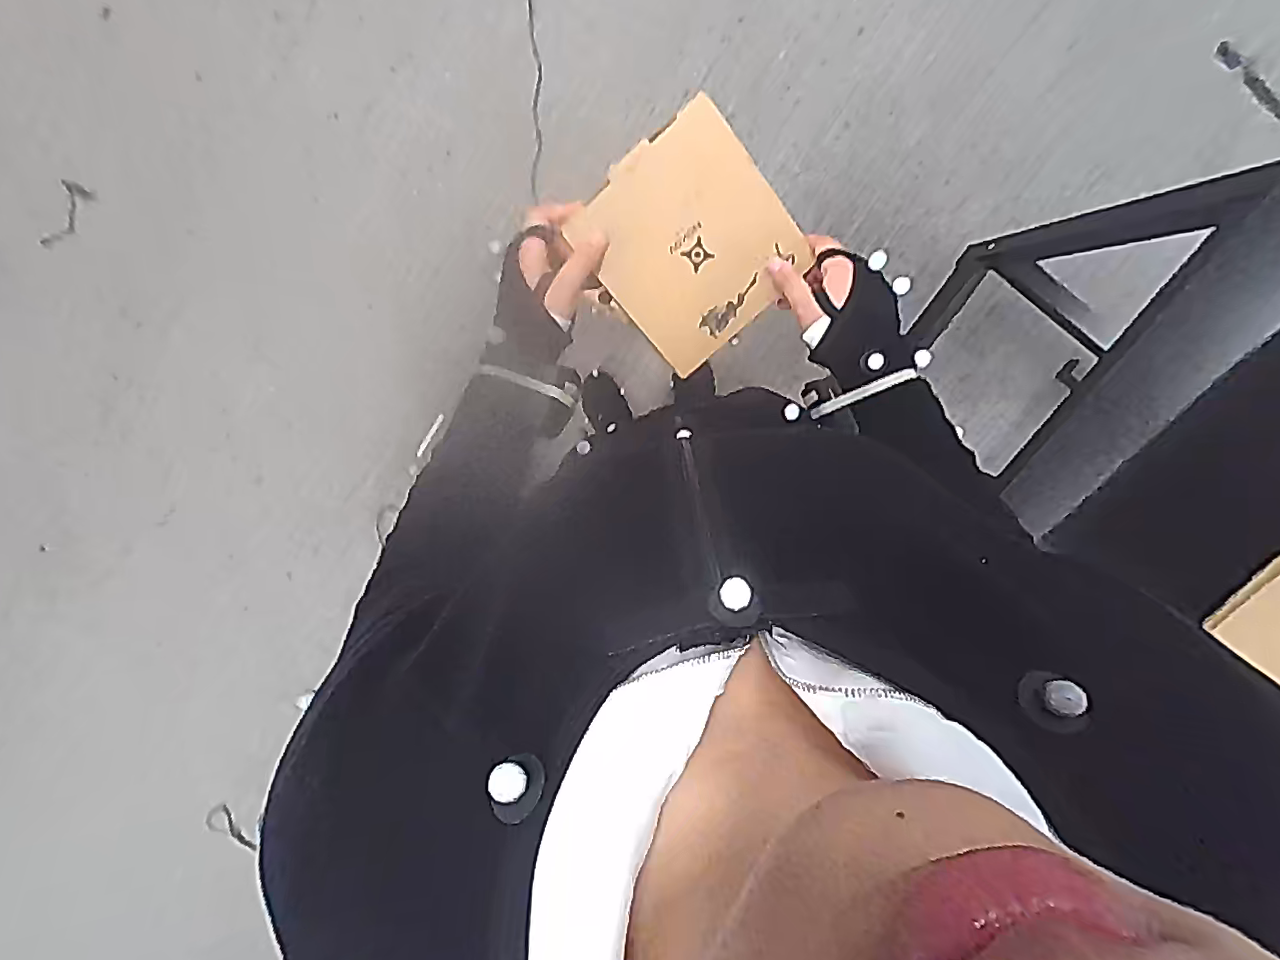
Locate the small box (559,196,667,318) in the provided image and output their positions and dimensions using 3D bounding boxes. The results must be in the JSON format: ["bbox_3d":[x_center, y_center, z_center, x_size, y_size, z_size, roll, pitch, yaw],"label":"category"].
[{"bbox_3d":[-0.055,-0.460,1.150,0.168,0.176,0.179,25,101,-8],"label":"small box"}]

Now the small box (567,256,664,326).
[{"bbox_3d":[-0.059,-0.492,1.308,0.168,0.176,0.179,30,102,-8],"label":"small box"}]
